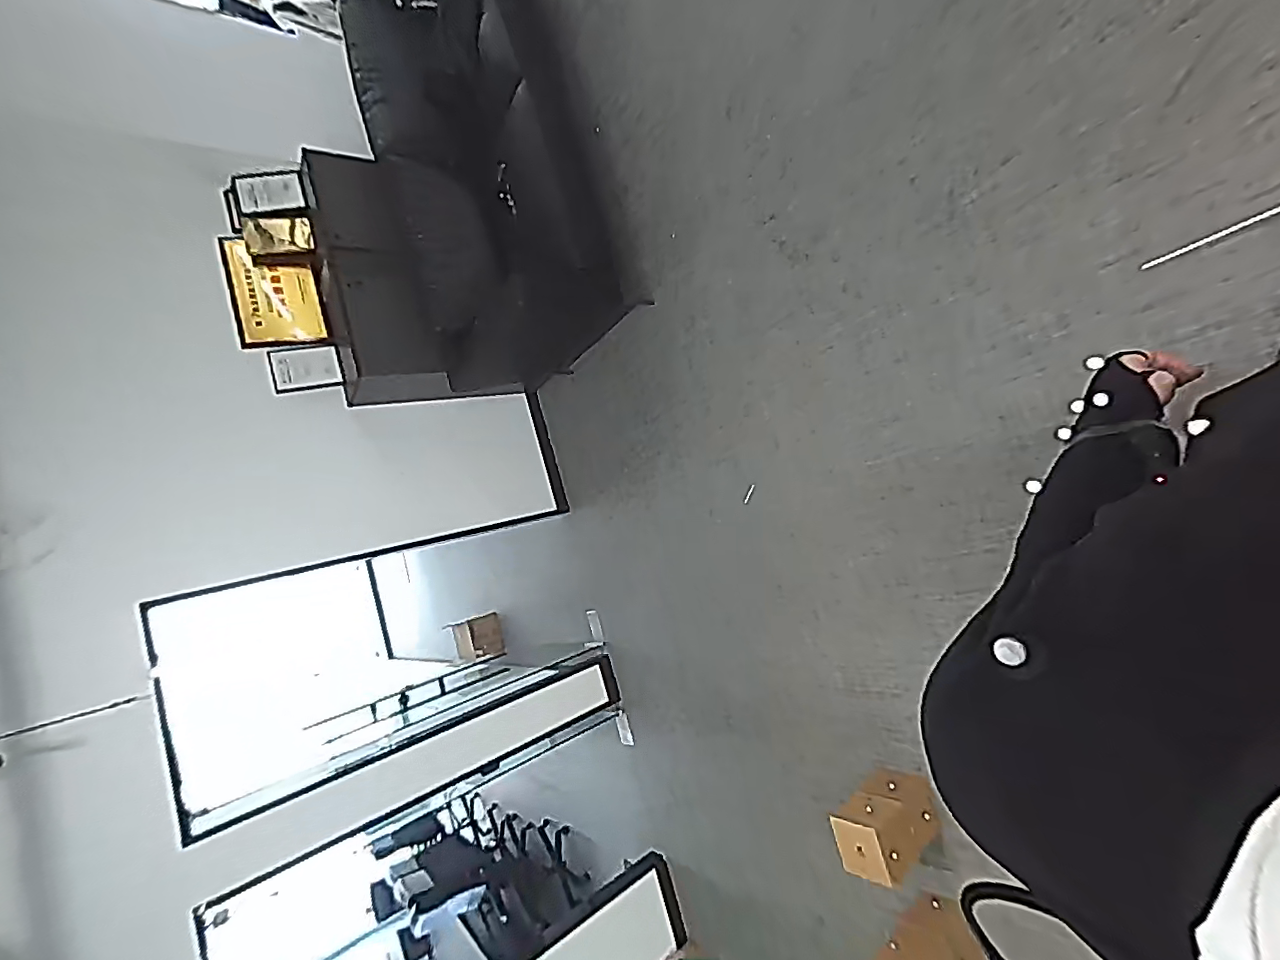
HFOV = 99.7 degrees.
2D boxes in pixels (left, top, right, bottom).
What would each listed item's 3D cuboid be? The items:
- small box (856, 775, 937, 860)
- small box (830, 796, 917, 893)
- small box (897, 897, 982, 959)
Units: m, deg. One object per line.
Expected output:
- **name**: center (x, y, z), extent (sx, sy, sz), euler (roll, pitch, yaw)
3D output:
- **small box**: center (0.857, 1.110, 1.796), extent (0.179, 0.176, 0.168), euler (-21, 81, 52)
- **small box**: center (0.732, 1.128, 1.693), extent (0.168, 0.176, 0.179), euler (-24, 80, 52)
- **small box**: center (0.971, 1.507, 1.741), extent (0.168, 0.176, 0.179), euler (-24, 79, 52)
